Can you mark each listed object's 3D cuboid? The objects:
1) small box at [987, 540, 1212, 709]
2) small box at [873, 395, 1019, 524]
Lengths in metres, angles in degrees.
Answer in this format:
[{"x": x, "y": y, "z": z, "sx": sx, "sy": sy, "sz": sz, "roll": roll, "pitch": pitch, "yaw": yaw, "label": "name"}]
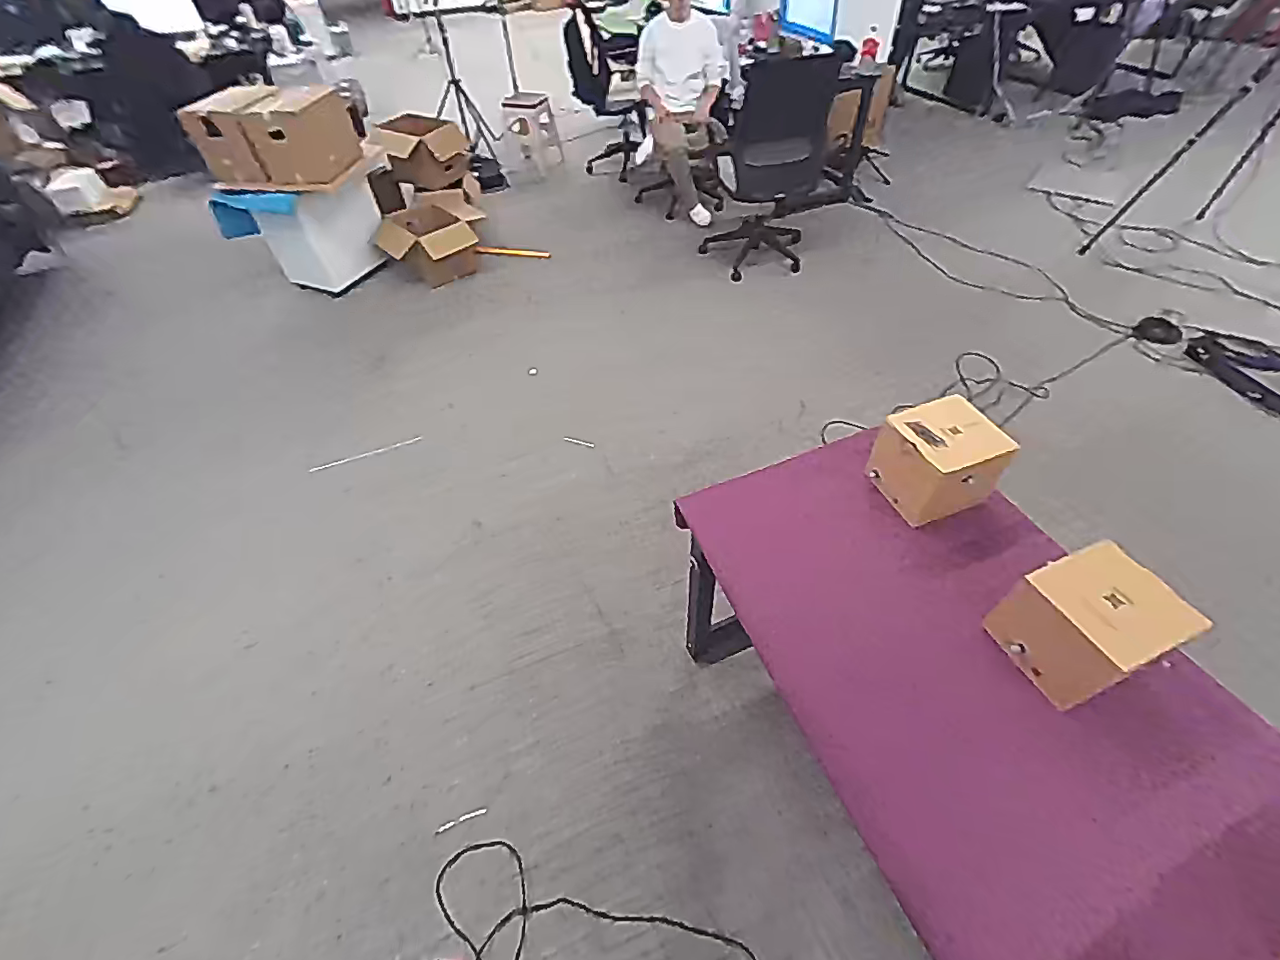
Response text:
[{"x": 0.700, "y": 0.228, "z": 0.850, "sx": 0.179, "sy": 0.176, "sz": 0.168, "roll": -19, "pitch": 50, "yaw": -12, "label": "small box"}, {"x": 0.594, "y": -0.037, "z": 1.083, "sx": 0.179, "sy": 0.176, "sz": 0.168, "roll": -17, "pitch": 51, "yaw": -11, "label": "small box"}]
